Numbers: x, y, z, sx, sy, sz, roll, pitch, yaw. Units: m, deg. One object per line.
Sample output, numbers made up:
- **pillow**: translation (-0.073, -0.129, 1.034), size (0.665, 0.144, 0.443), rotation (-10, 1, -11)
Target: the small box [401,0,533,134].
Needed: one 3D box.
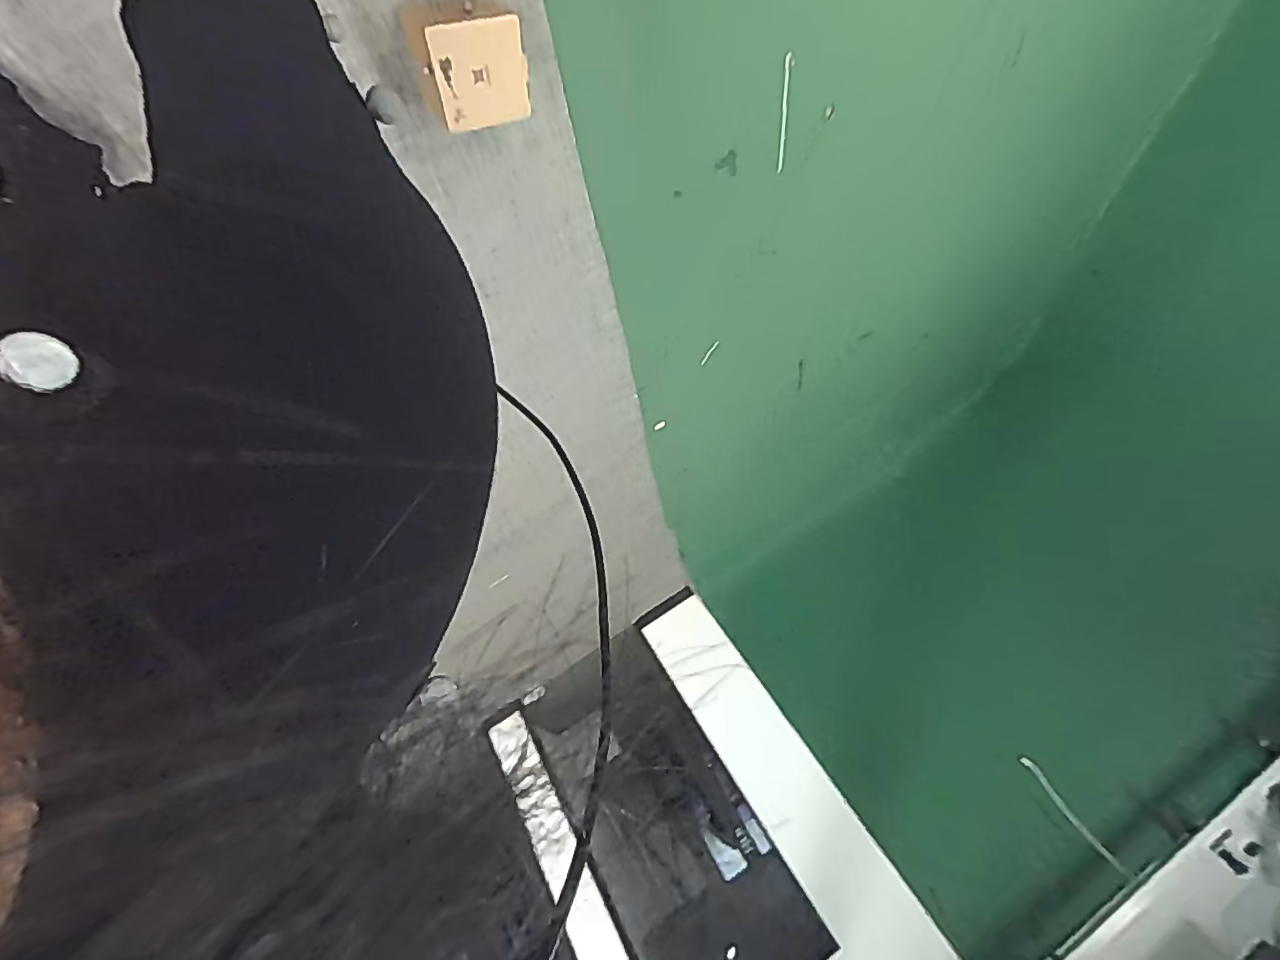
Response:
- **small box**: translation (-0.330, -0.806, 1.045), size (0.179, 0.176, 0.168), rotation (-25, 147, -18)
